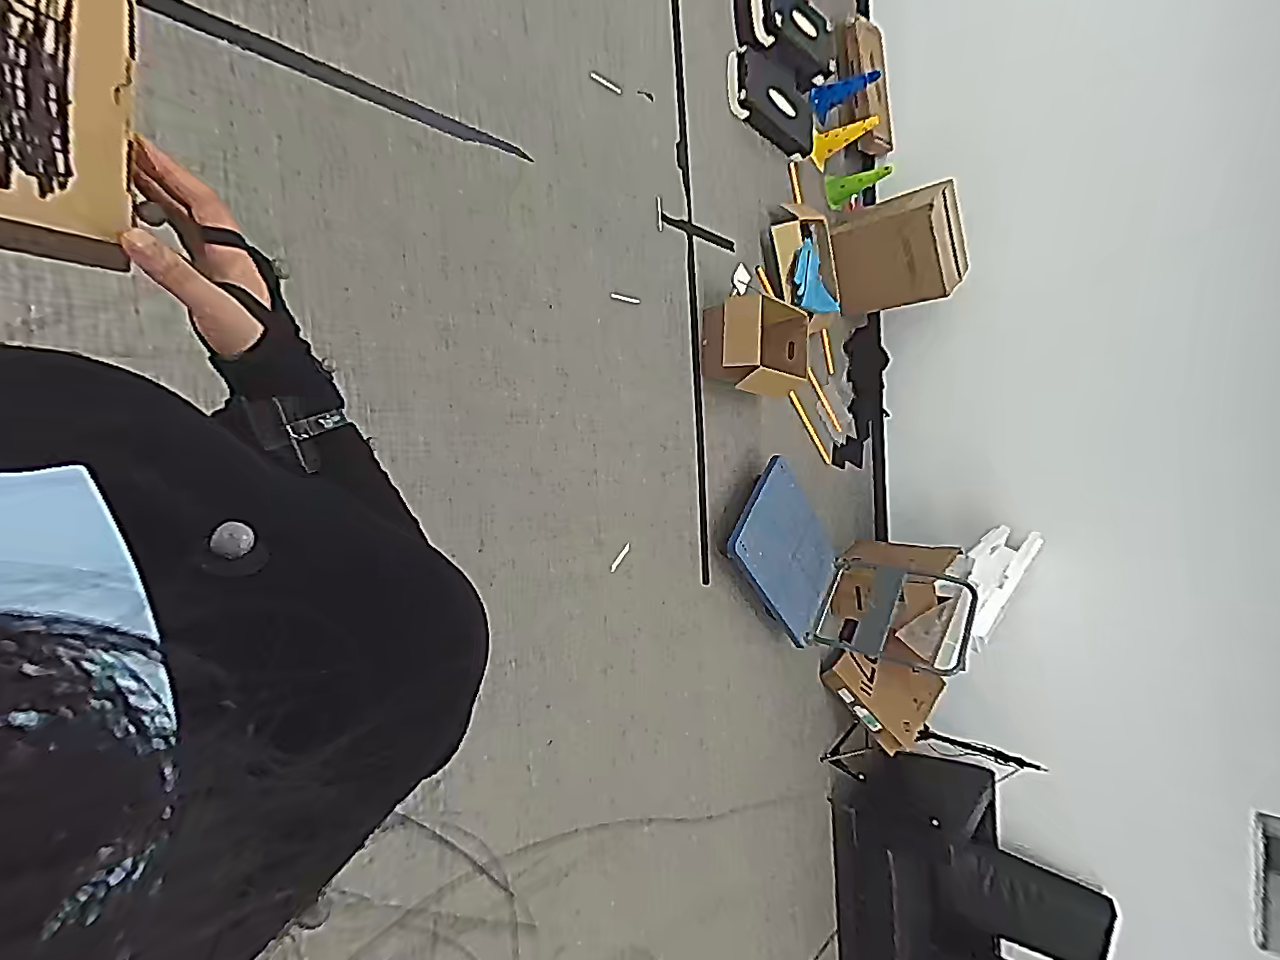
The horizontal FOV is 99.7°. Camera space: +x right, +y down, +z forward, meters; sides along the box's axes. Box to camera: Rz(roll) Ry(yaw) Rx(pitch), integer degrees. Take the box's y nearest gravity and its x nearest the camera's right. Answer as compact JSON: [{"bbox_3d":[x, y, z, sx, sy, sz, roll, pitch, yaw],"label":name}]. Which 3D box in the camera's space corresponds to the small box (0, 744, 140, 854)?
[{"bbox_3d":[-1.054,0.619,1.003,0.168,0.176,0.179,-8,96,-45],"label":"small box"}]
